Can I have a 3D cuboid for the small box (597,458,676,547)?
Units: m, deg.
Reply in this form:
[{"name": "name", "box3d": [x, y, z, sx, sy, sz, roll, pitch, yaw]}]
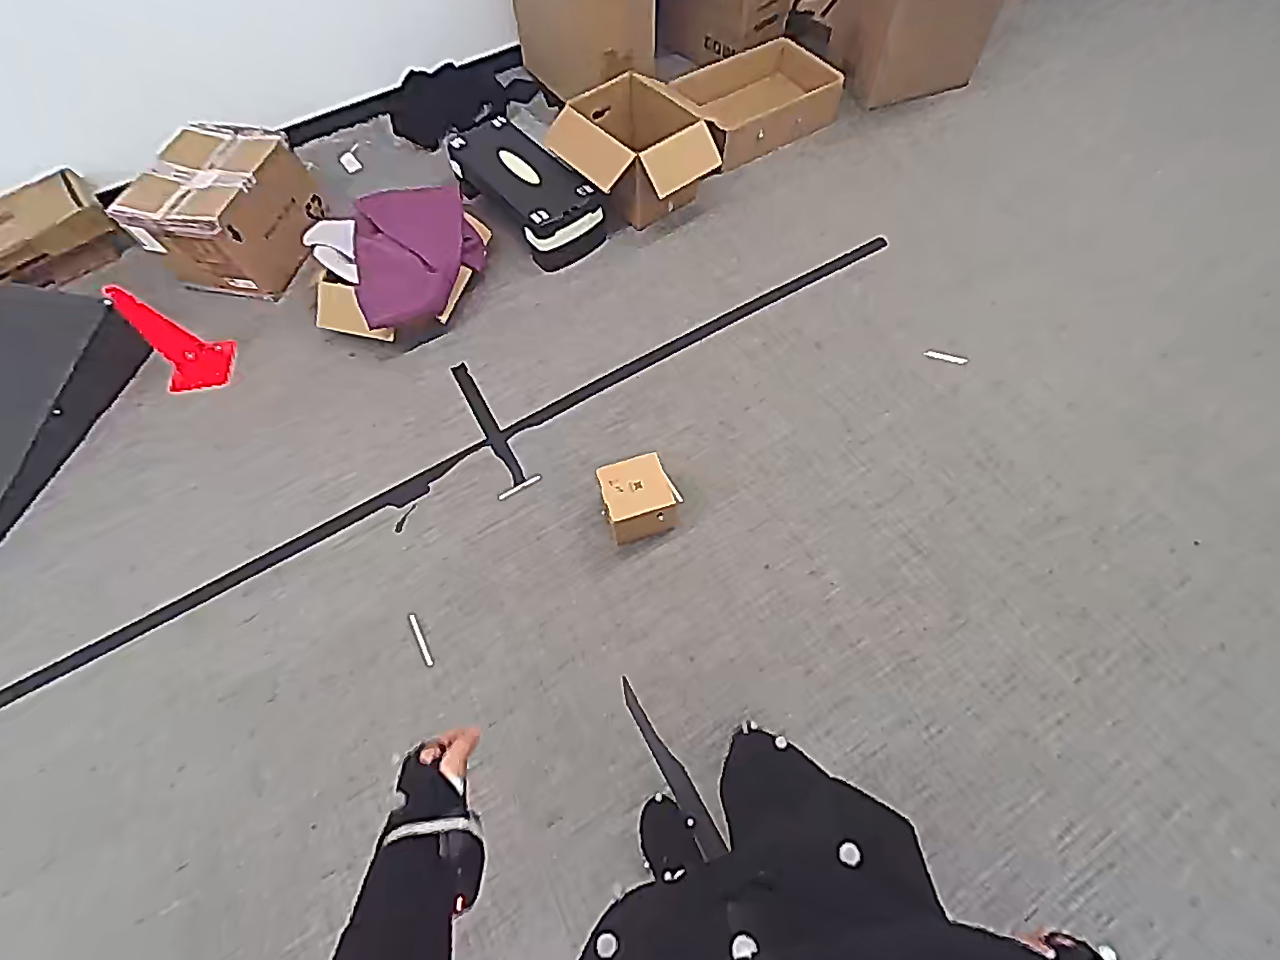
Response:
[{"name": "small box", "box3d": [-0.009, 0.066, 1.502, 0.179, 0.176, 0.168, -17, 63, -6]}]
